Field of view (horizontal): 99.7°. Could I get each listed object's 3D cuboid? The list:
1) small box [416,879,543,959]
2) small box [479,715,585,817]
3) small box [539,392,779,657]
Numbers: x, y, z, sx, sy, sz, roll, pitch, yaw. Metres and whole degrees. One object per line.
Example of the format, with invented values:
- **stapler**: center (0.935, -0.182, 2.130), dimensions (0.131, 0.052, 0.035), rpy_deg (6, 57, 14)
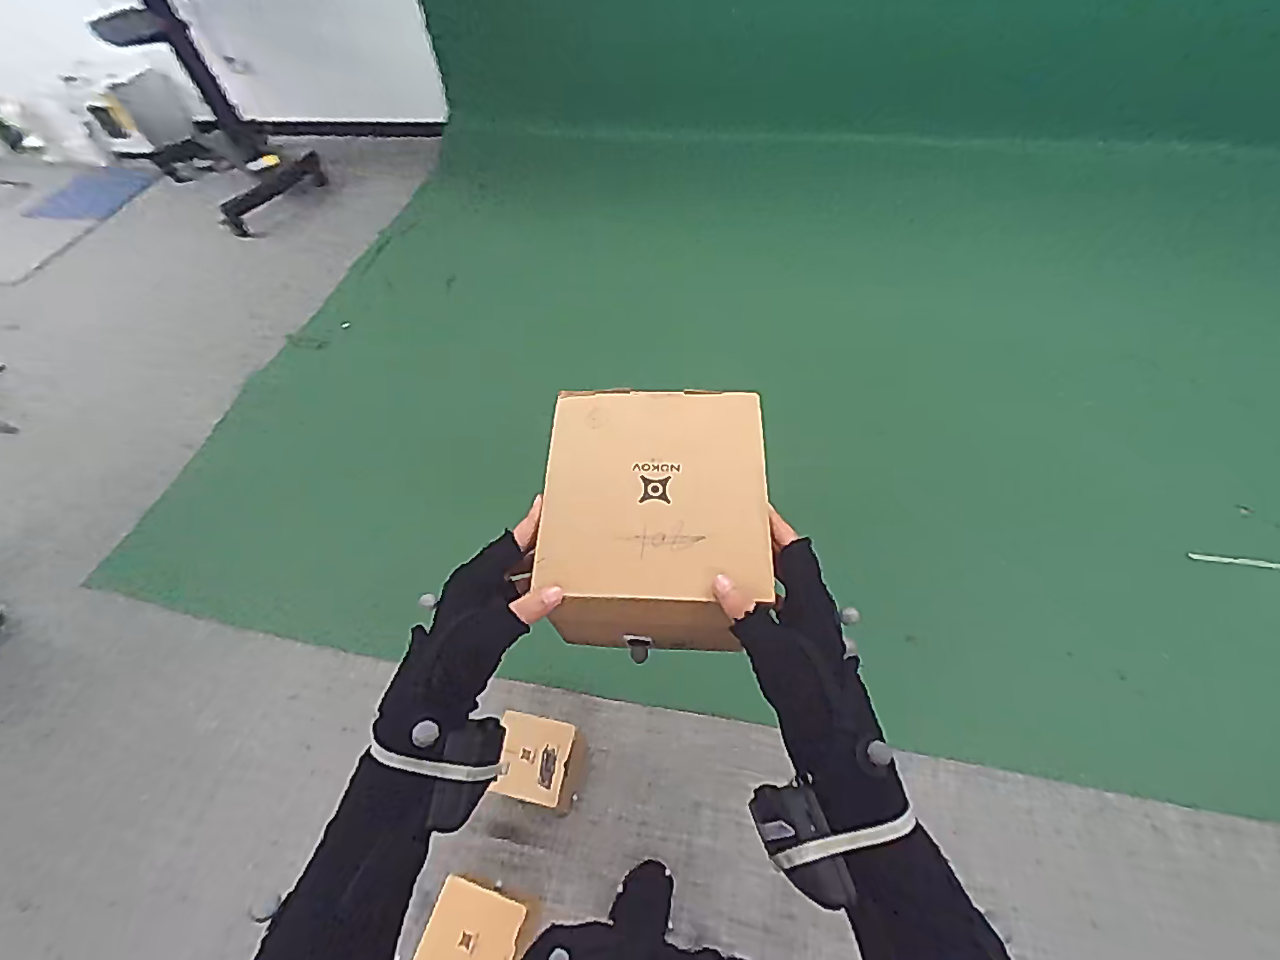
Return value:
- **small box**: center (-0.314, 0.915, 1.066), dimensions (0.179, 0.176, 0.168), rpy_deg (12, 56, 12)
- **small box**: center (-0.236, 0.661, 1.242), dimensions (0.179, 0.176, 0.168), rpy_deg (7, 55, 10)
- **small box**: center (0.019, 0.045, 0.472), dimensions (0.168, 0.176, 0.179), rpy_deg (2, 62, 3)
